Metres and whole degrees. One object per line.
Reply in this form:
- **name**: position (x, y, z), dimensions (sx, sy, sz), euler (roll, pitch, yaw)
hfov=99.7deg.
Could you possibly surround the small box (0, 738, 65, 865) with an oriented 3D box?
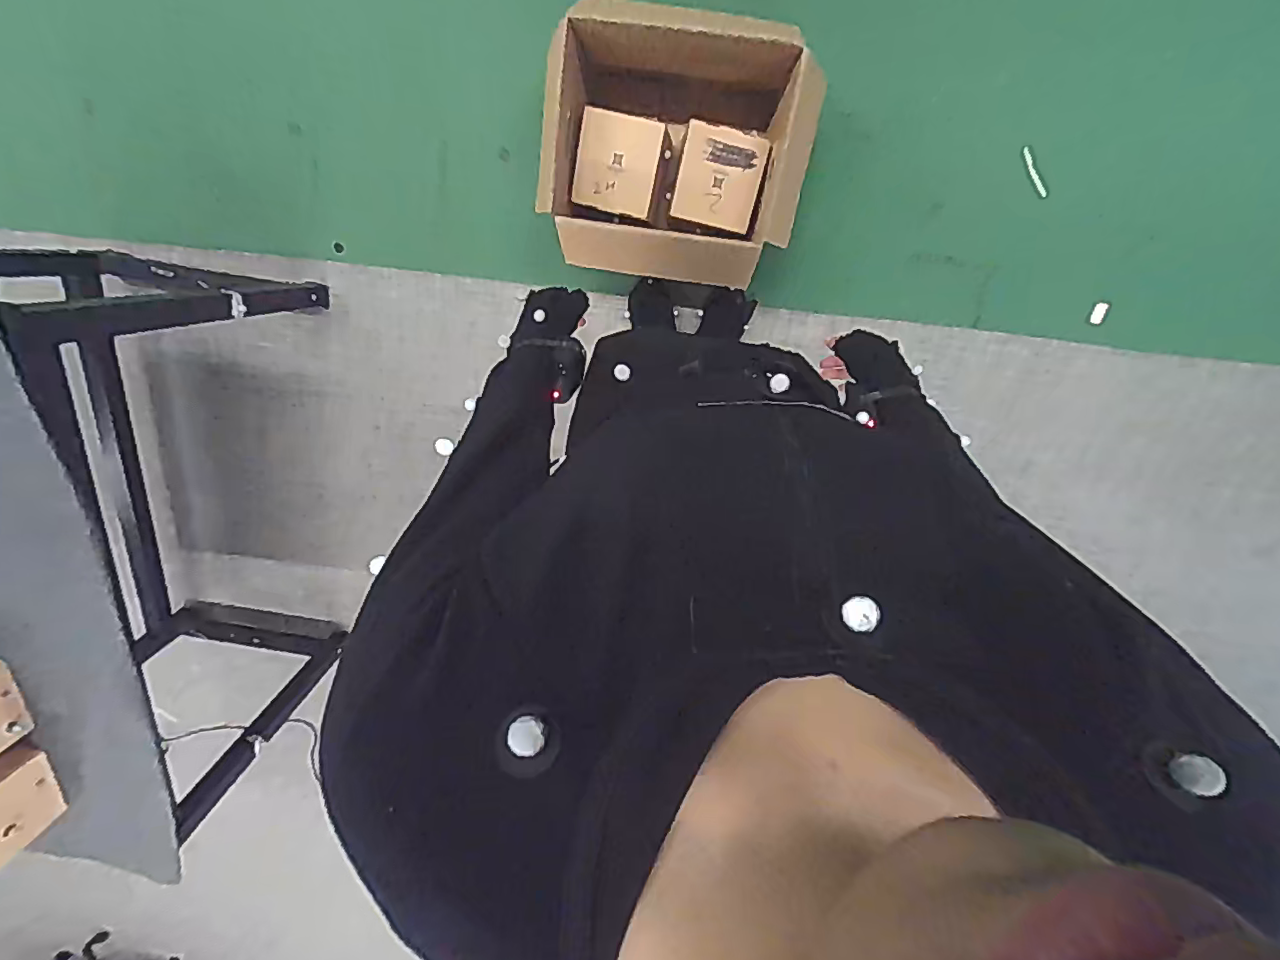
- **small box**: position (-1.249, 0.604, 1.014), dimensions (0.179, 0.176, 0.168), euler (8, 113, 2)

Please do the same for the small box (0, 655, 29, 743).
- **small box**: position (-1.223, 0.400, 0.925), dimensions (0.179, 0.176, 0.168), euler (8, 113, 2)
